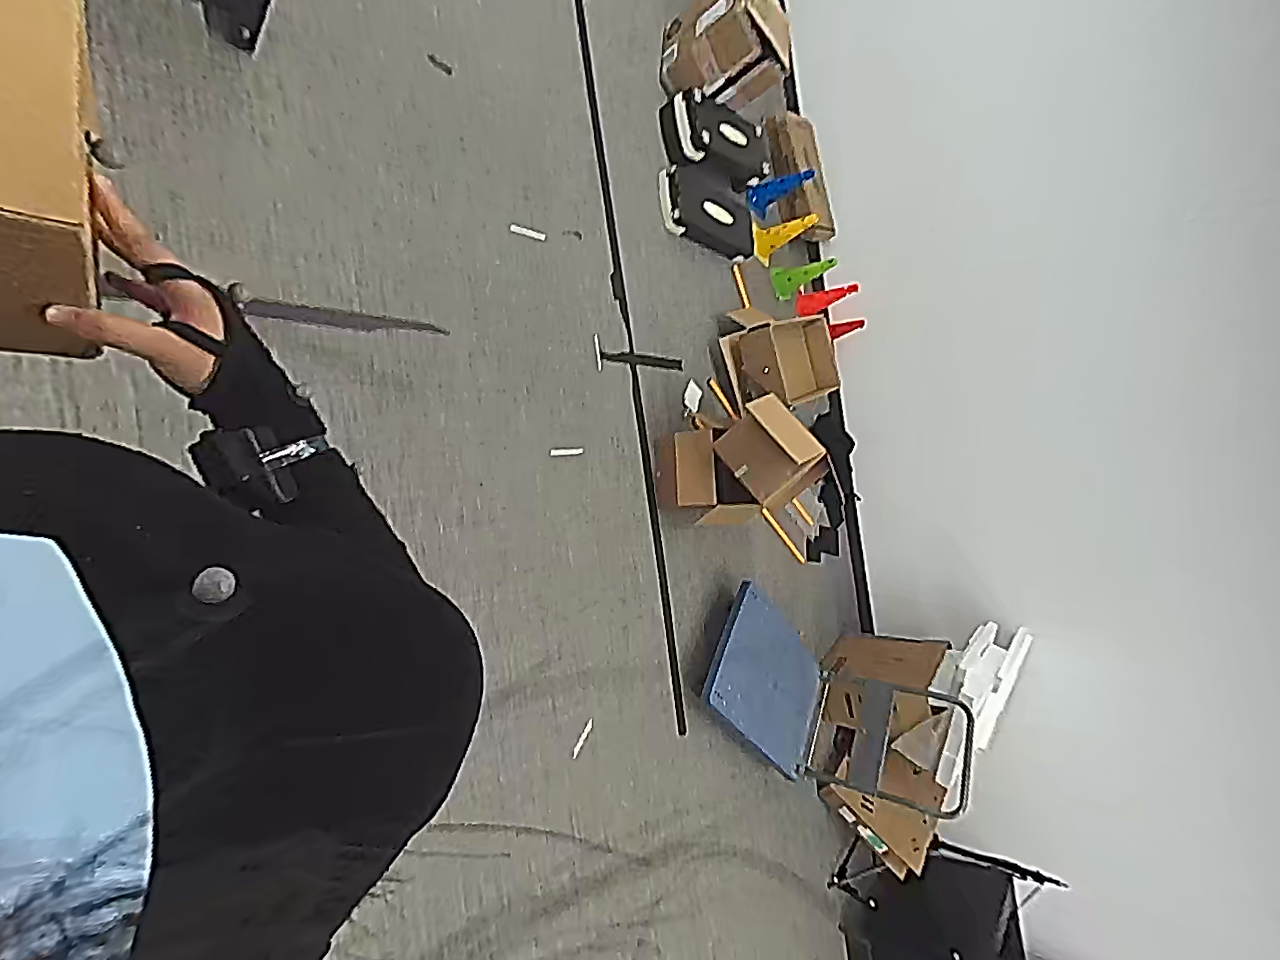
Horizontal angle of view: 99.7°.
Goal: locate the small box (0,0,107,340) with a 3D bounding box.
[{"bbox_3d":[-0.408,-0.201,0.293,0.168,0.176,0.179,-3,78,-44],"label":"small box"}]
